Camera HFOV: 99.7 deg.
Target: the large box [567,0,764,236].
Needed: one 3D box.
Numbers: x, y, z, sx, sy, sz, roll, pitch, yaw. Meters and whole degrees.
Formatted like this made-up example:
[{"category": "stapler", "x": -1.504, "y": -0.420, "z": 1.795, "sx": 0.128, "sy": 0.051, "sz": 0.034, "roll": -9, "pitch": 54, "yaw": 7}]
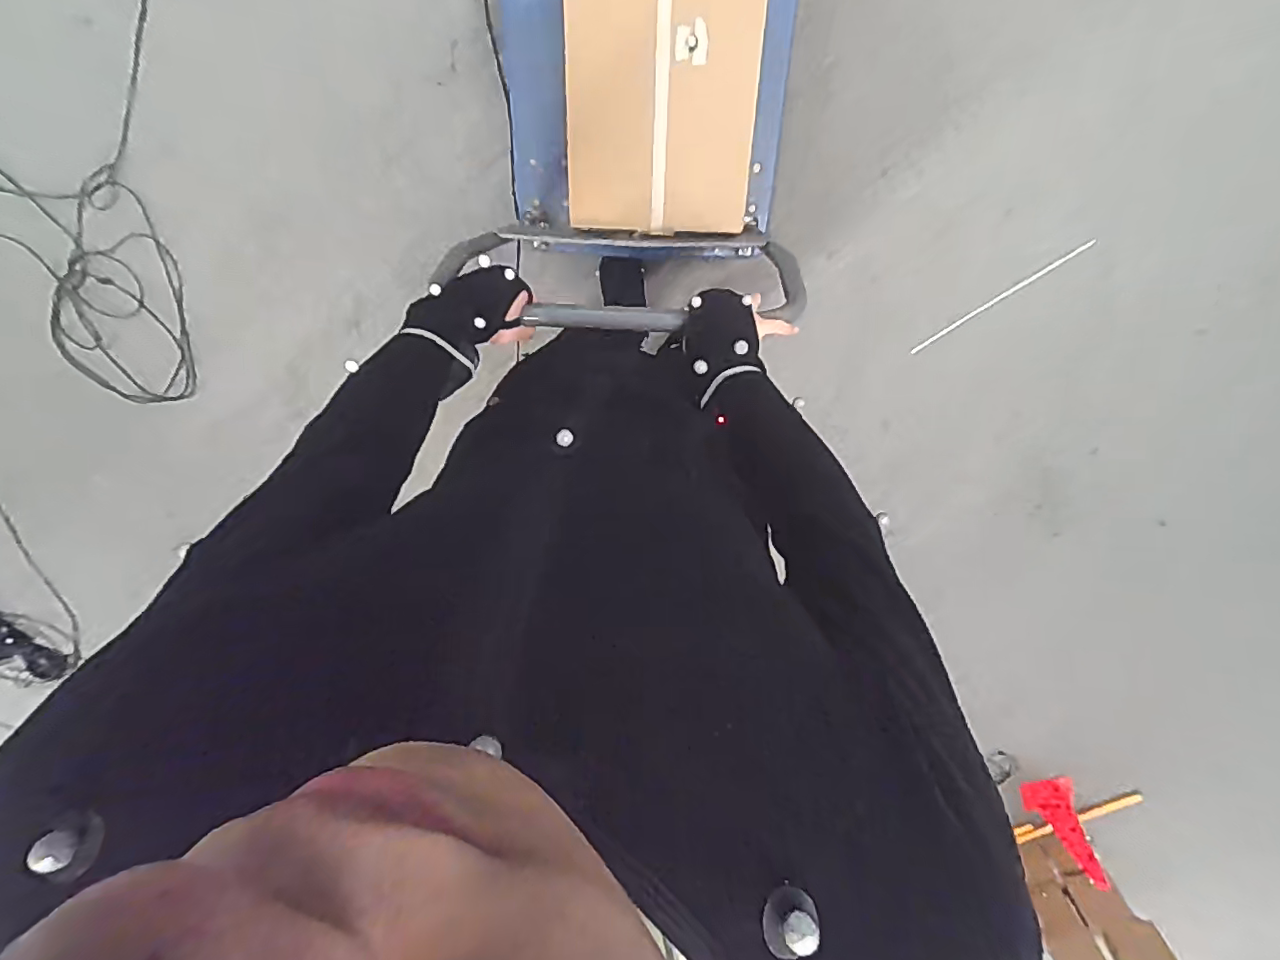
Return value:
[{"category": "large box", "x": 0.046, "y": -0.693, "z": 1.035, "sx": 0.320, "sy": 0.320, "sz": 0.408, "roll": 3, "pitch": 116, "yaw": 2}]
